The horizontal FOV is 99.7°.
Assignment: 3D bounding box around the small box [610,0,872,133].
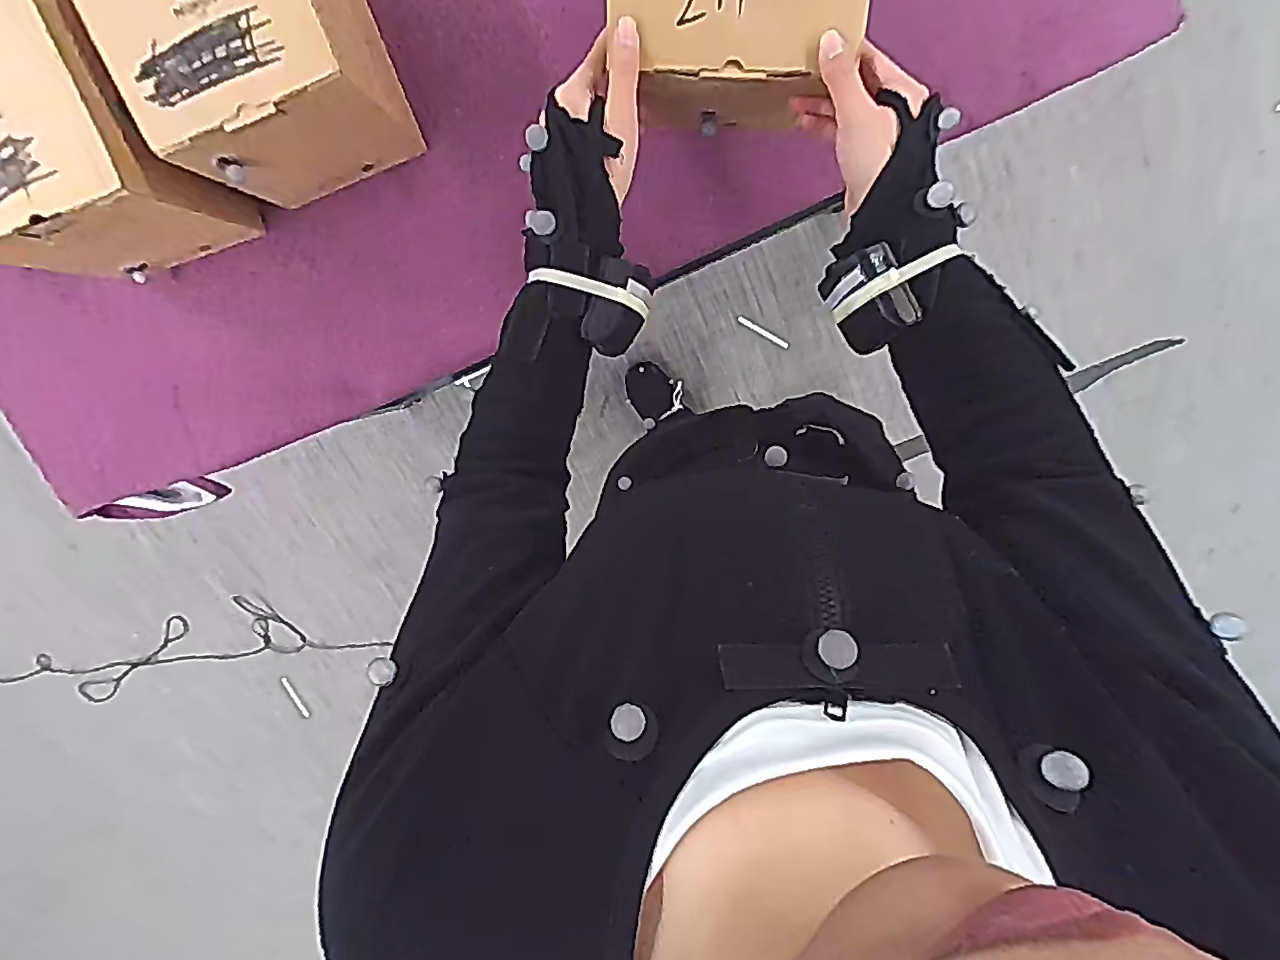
[{"bbox_3d":[0.063,-0.374,0.392,0.168,0.176,0.179,1,112,0],"label":"small box"}]
